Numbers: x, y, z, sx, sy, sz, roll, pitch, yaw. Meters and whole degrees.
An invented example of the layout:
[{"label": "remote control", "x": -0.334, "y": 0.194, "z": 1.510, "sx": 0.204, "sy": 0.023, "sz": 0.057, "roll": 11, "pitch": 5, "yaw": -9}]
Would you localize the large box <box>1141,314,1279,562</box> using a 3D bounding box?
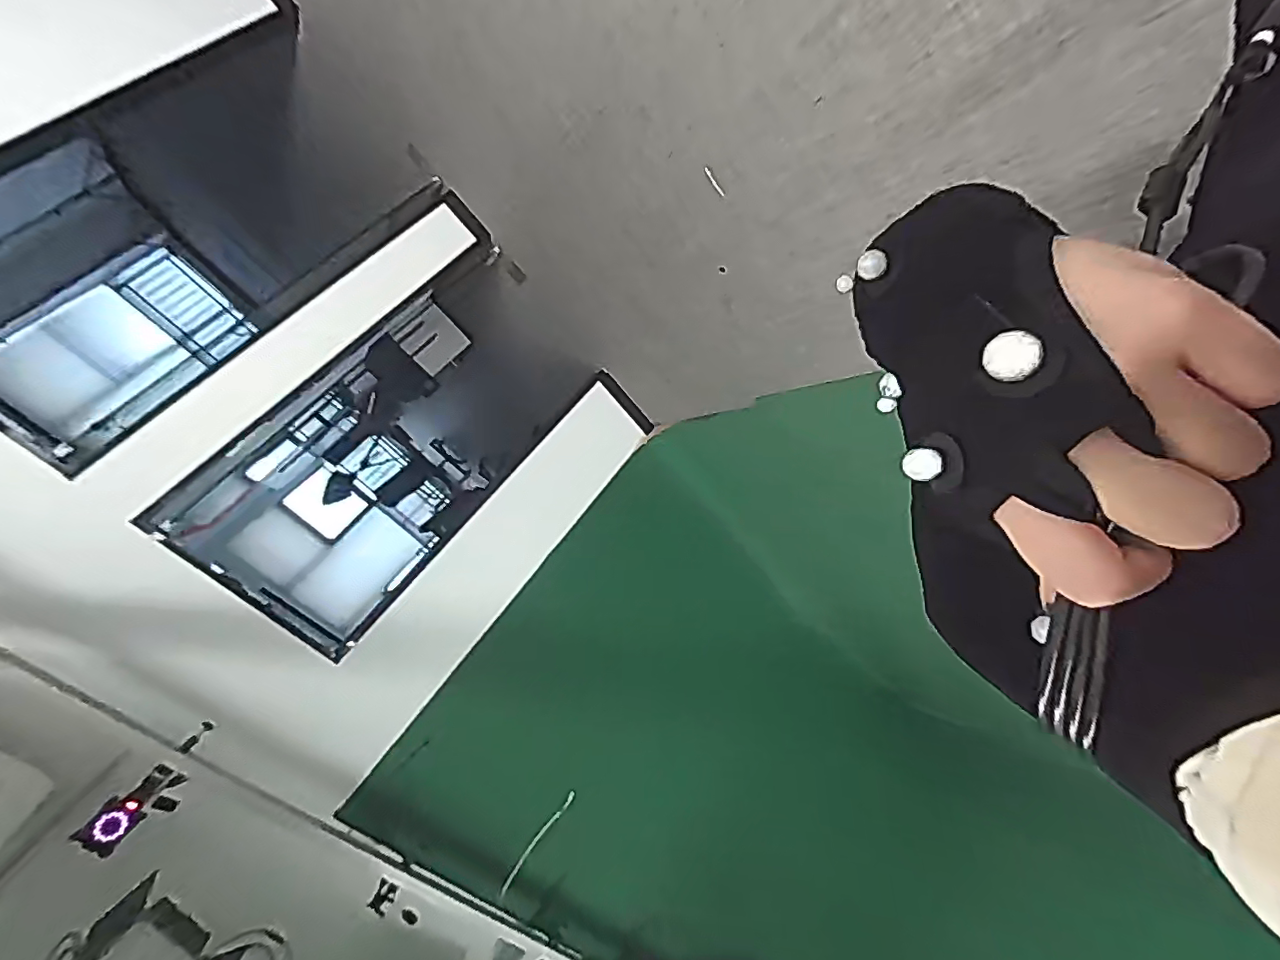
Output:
[{"label": "large box", "x": 1.294, "y": -0.084, "z": 1.067, "sx": 0.408, "sy": 0.320, "sz": 0.320, "roll": 46, "pitch": 157, "yaw": -16}]
